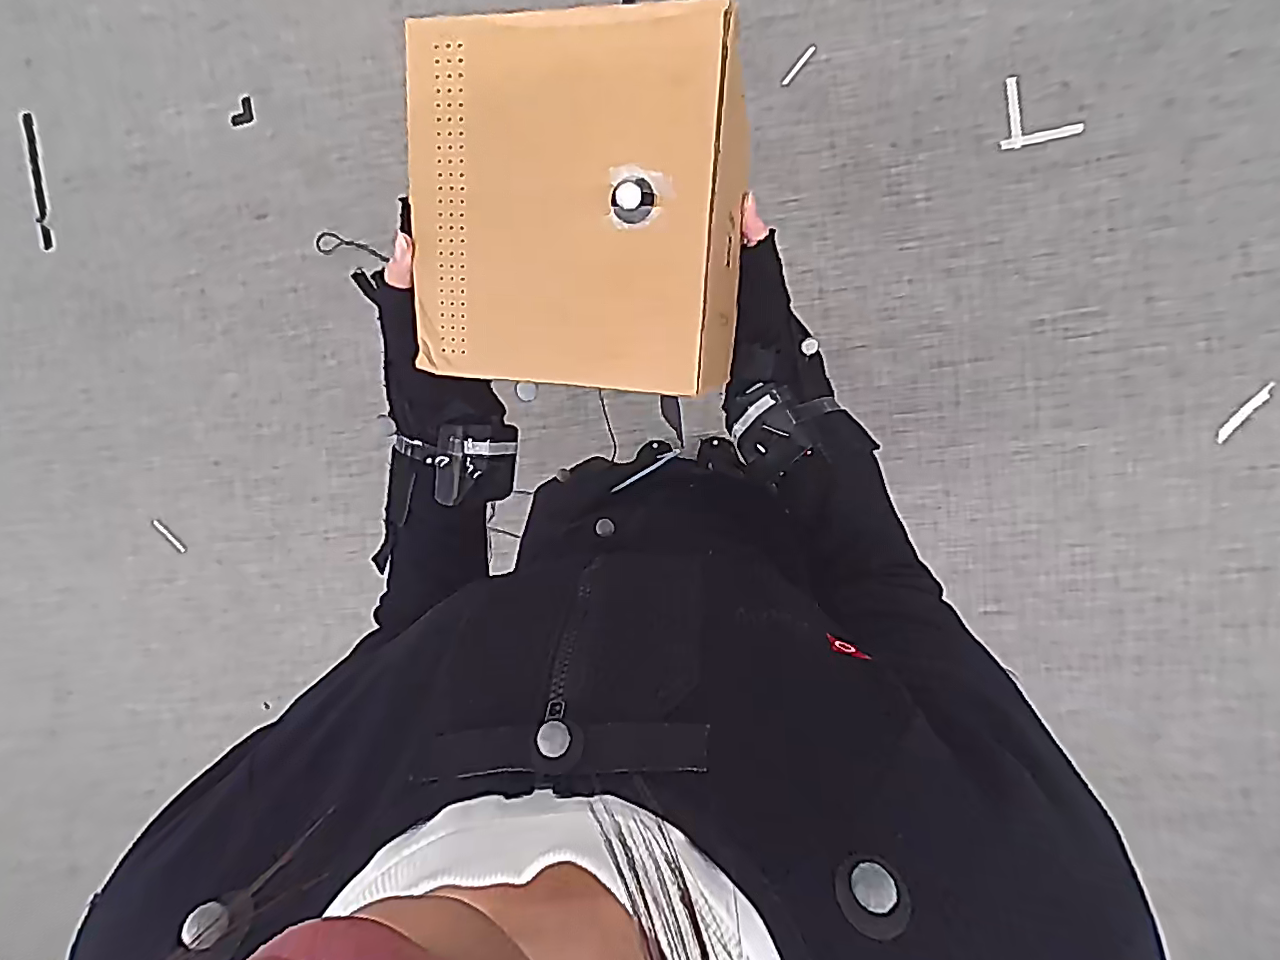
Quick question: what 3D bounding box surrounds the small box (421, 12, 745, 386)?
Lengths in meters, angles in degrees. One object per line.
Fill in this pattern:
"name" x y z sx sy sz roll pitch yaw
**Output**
"small box" -0.027 -0.158 0.360 0.176 0.168 0.179 7 104 13
